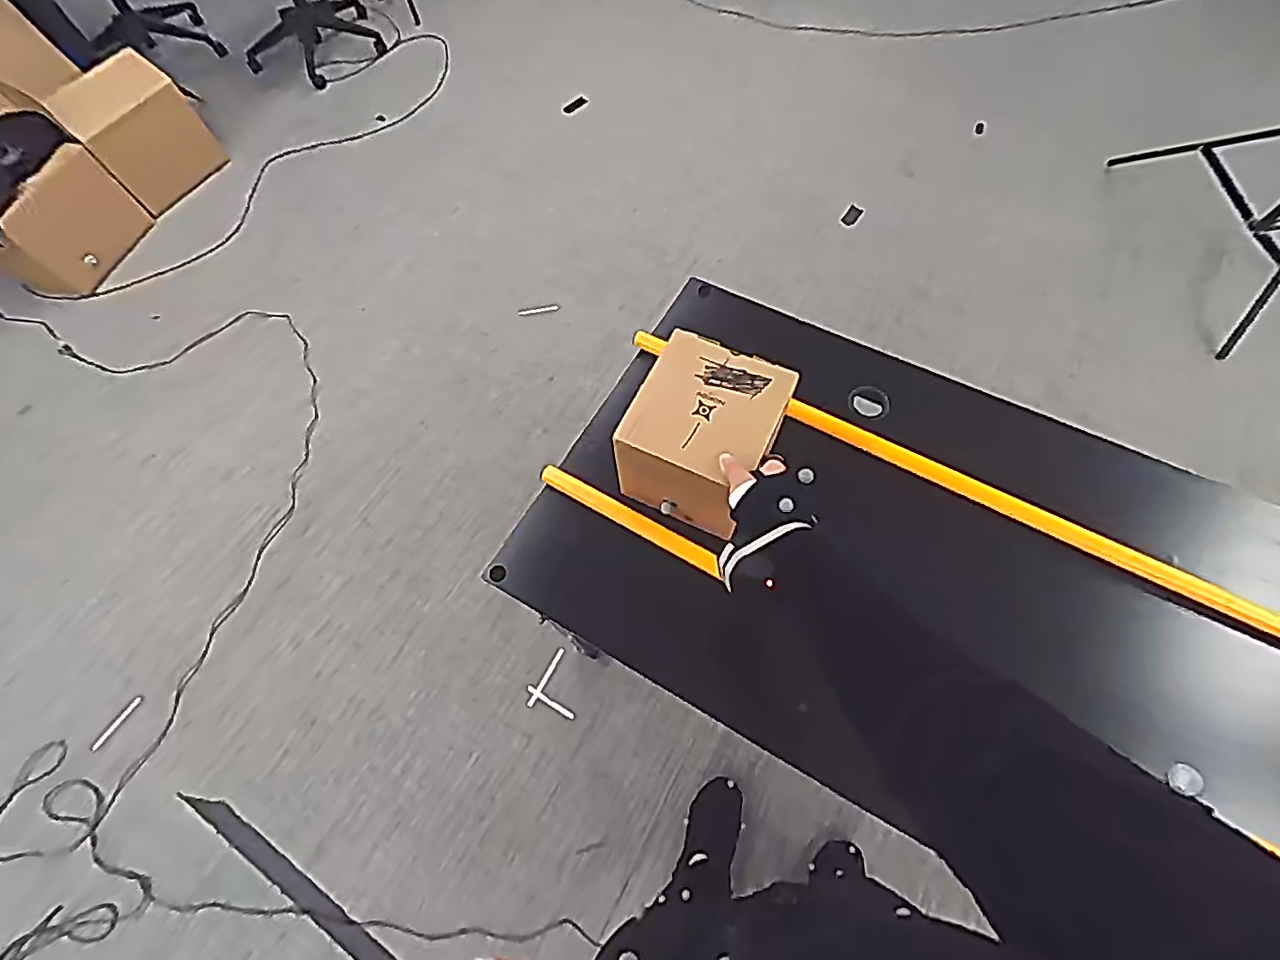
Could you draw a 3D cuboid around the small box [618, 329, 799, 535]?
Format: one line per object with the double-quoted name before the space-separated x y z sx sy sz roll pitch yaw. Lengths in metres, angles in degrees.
"small box" 0.085 -0.056 0.707 0.168 0.176 0.179 24 69 13
